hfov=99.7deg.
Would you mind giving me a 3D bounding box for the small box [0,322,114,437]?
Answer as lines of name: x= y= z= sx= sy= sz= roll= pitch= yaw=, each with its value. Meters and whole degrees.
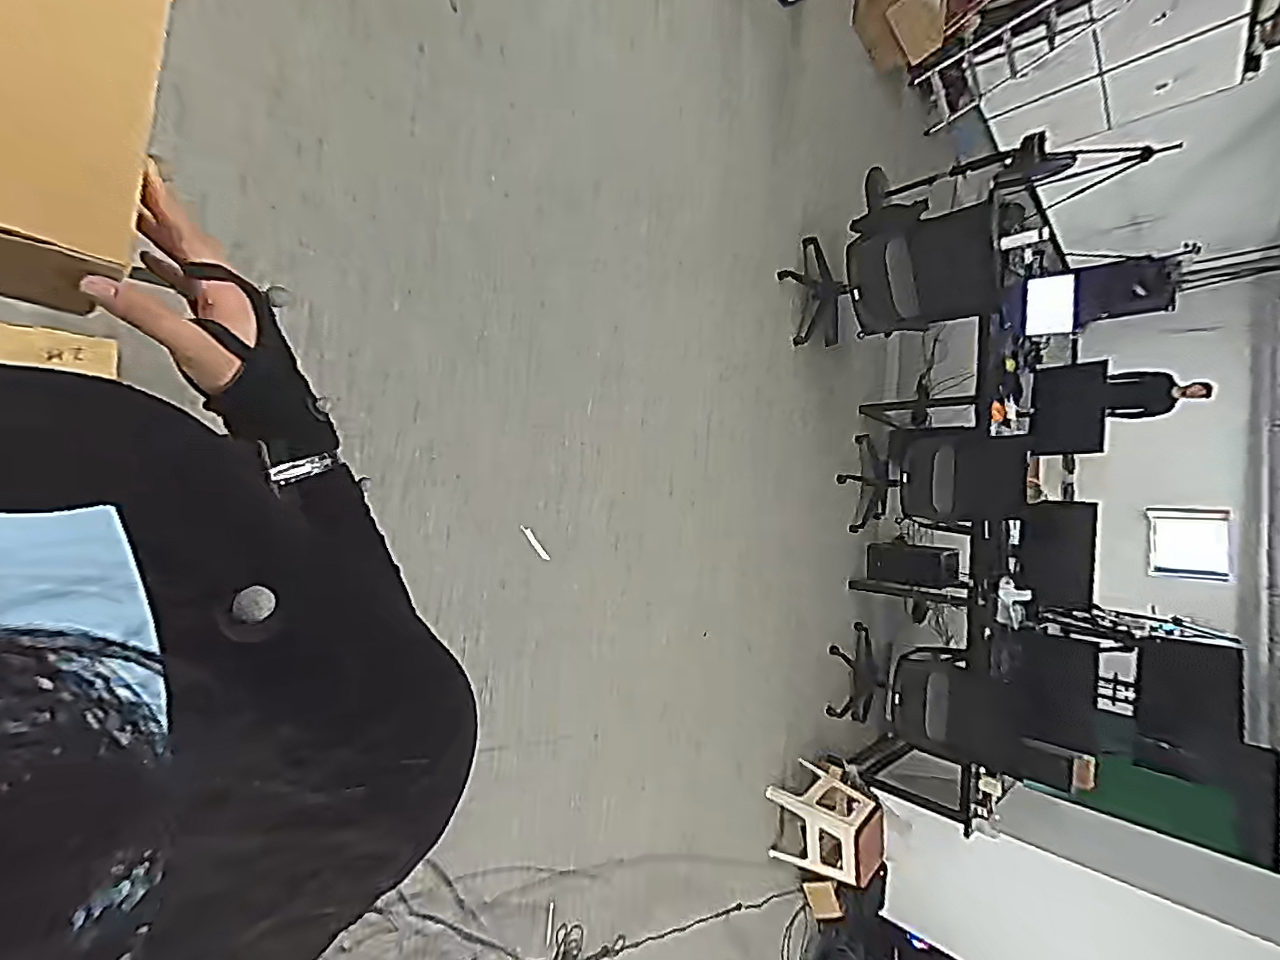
small box: x=-1.078 y=-0.174 z=0.983 sx=0.168 sy=0.176 sz=0.179 roll=3 pitch=88 yaw=-45
